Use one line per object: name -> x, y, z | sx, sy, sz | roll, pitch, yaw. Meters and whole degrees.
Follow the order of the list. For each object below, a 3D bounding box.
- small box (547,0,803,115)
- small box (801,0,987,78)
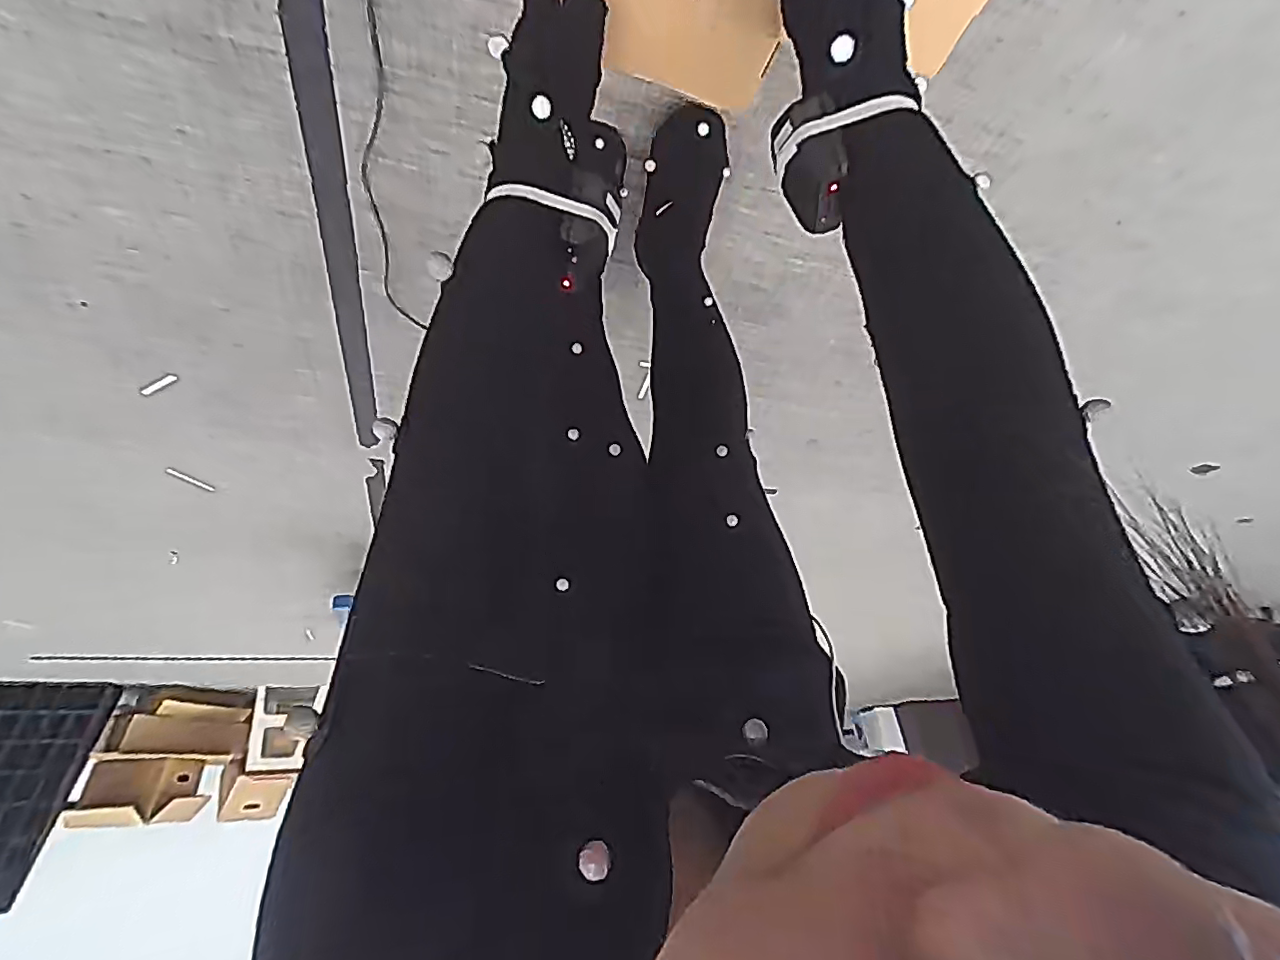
small box -> 0.034, -0.431, 0.409 | 0.179, 0.176, 0.168 | 7, 151, -19
small box -> 0.265, -0.565, 0.554 | 0.179, 0.176, 0.168 | 6, 146, -19
